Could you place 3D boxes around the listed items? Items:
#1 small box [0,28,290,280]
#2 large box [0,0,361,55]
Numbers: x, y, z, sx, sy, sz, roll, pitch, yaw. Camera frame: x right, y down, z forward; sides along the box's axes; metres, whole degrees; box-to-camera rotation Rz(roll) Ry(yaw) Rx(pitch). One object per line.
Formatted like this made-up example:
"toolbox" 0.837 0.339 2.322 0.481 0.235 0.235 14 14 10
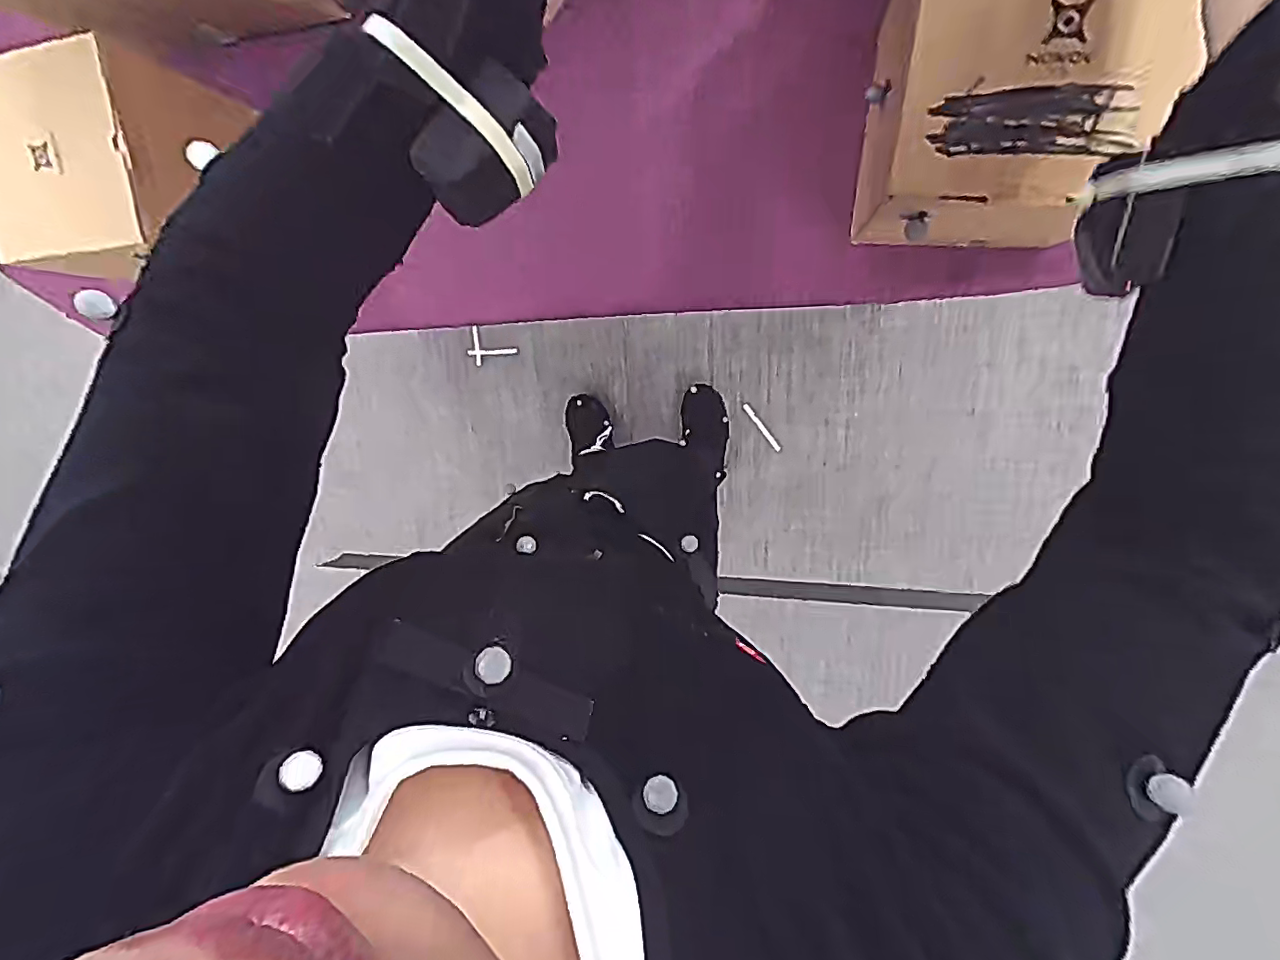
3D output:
"small box" -0.509 -0.307 0.553 0.179 0.176 0.168 -2 102 11
"large box" -0.470 -0.629 0.392 0.320 0.320 0.408 -1 106 12
